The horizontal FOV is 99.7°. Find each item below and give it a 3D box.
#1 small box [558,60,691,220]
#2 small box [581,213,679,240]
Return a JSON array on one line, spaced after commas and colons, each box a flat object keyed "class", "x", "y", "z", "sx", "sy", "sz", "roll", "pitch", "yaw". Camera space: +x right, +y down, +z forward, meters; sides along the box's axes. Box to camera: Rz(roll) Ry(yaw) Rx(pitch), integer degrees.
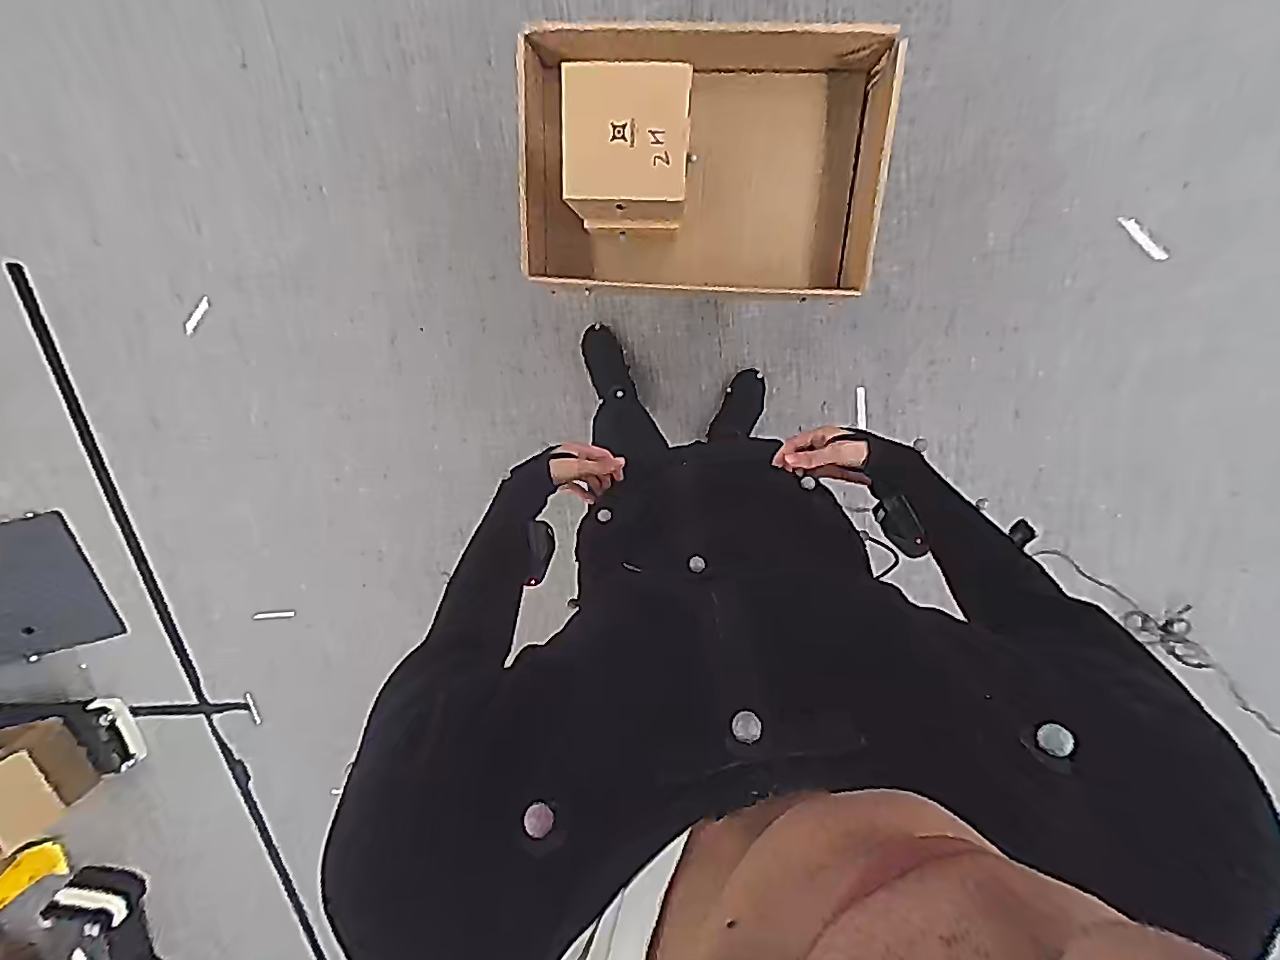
[{"class": "small box", "x": -0.018, "y": -0.490, "z": 0.803, "sx": 0.179, "sy": 0.176, "sz": 0.168, "roll": 3, "pitch": 107, "yaw": 3}, {"class": "small box", "x": -0.011, "y": -0.531, "z": 0.963, "sx": 0.168, "sy": 0.176, "sz": 0.179, "roll": 2, "pitch": 107, "yaw": 3}]
